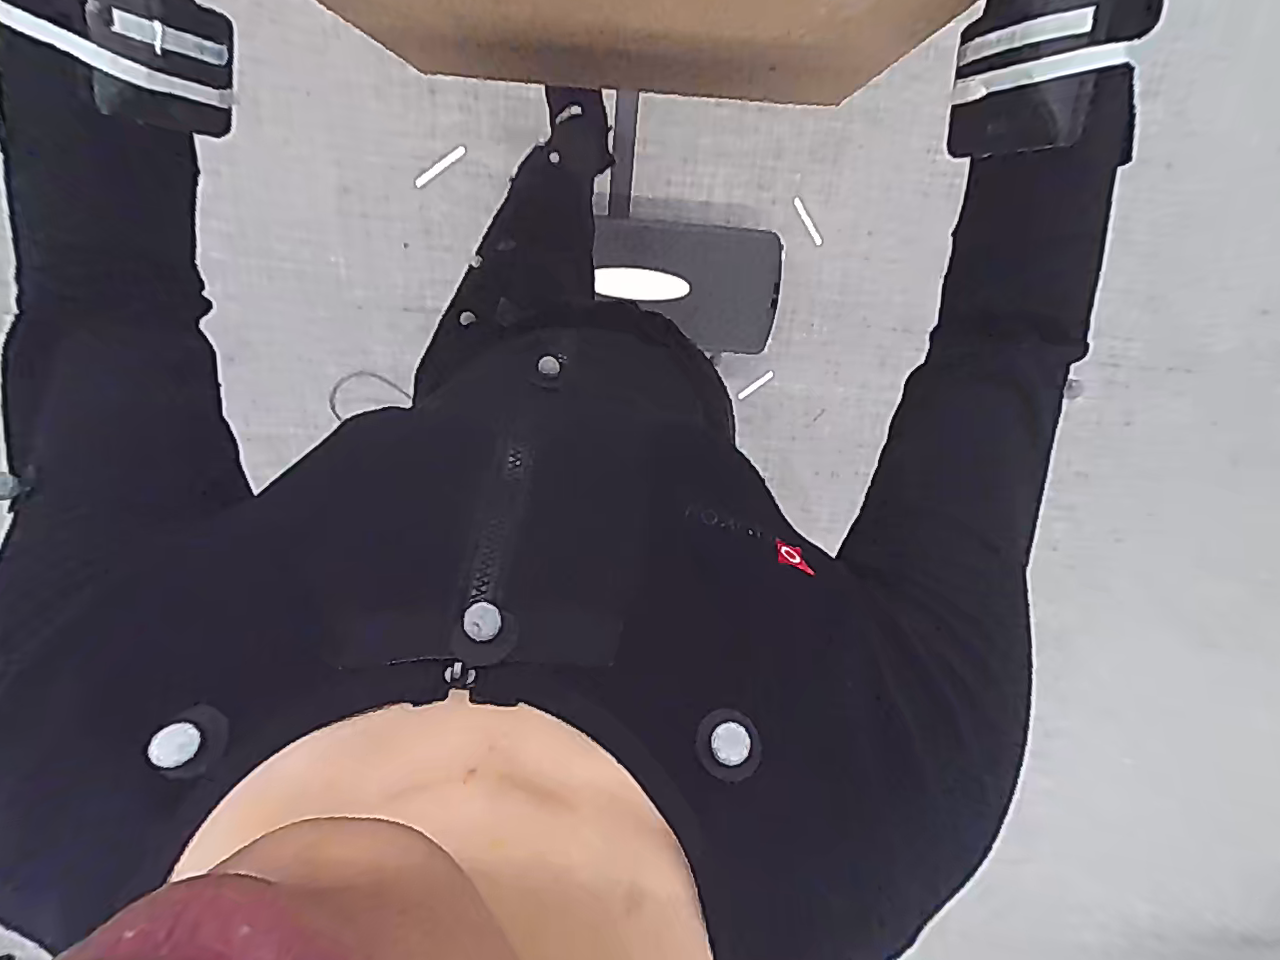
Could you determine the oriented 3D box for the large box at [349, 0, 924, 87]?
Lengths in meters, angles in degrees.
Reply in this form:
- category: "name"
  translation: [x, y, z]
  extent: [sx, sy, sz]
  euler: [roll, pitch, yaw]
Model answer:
- category: "large box"
  translation: [-0.007, -0.467, 0.323]
  extent: [0.408, 0.320, 0.320]
  euler: [4, 114, 0]
